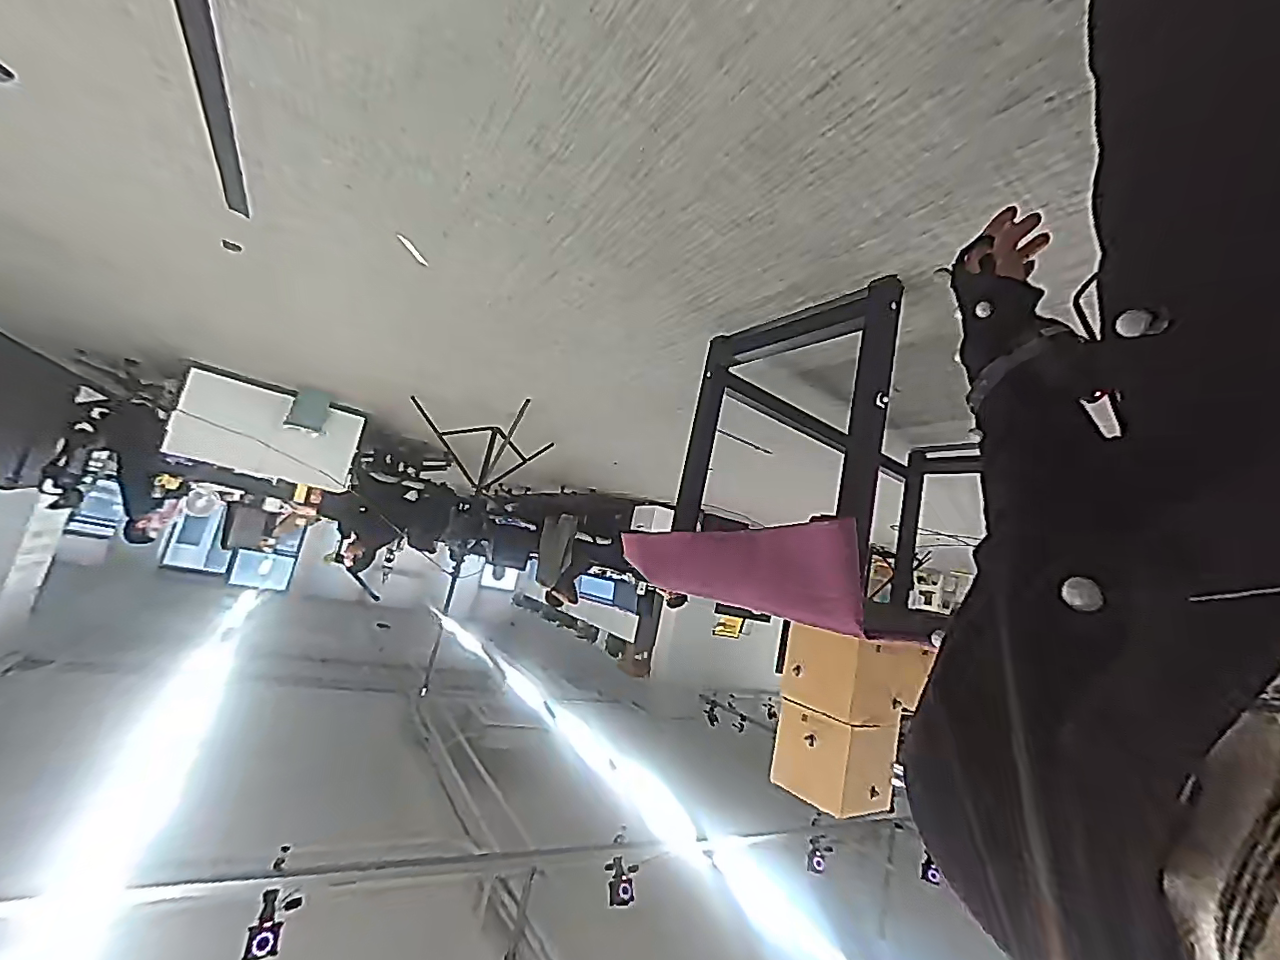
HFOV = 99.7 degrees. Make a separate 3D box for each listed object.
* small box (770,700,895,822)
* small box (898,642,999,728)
[{"bbox_3d":[0.396,0.559,1.102,0.179,0.176,0.168,18,169,-35],"label":"small box"},{"bbox_3d":[0.781,0.513,1.368,0.179,0.176,0.168,18,168,-33],"label":"small box"}]
